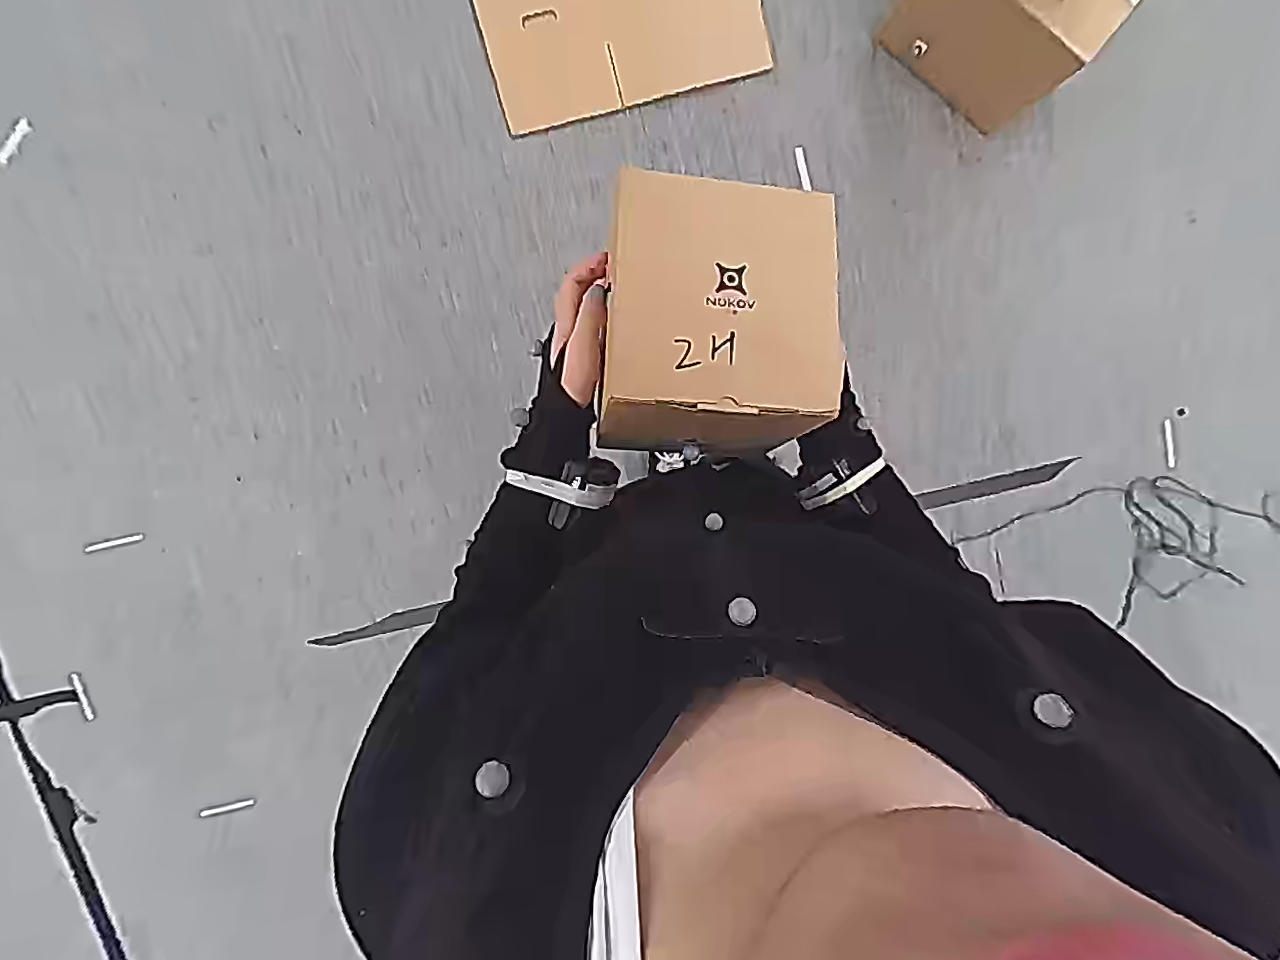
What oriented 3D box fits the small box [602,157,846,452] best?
[{"bbox_3d":[0.055,-0.129,0.460,0.168,0.176,0.179,2,81,-7],"label":"small box"}]
